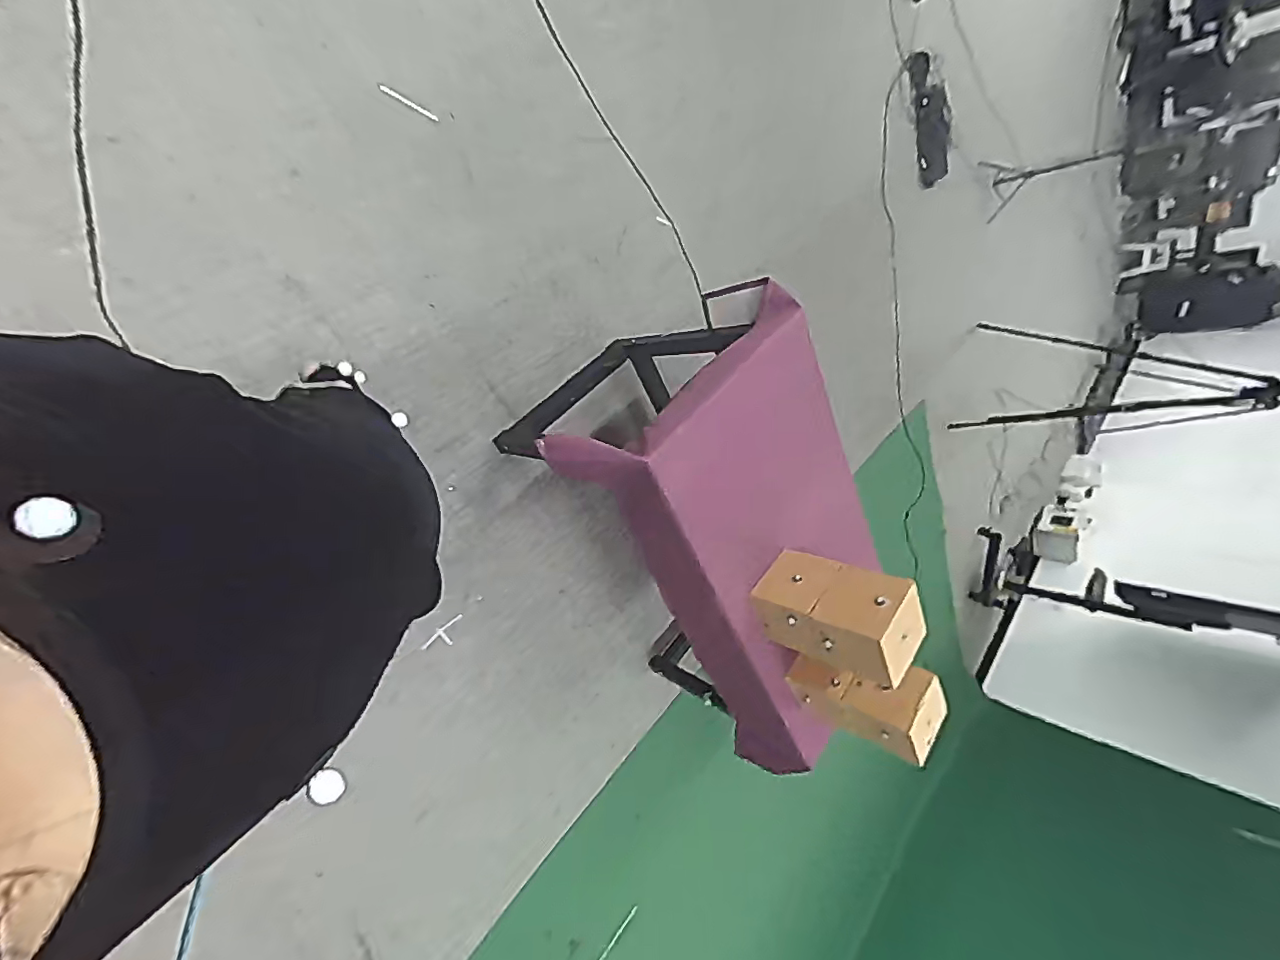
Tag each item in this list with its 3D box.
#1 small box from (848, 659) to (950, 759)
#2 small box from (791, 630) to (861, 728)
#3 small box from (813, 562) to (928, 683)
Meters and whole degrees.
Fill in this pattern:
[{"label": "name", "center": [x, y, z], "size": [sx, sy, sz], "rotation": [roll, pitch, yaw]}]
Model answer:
[{"label": "small box", "center": [0.651, 0.556, 1.367], "size": [0.168, 0.176, 0.179], "rotation": [-47, 123, -24]}, {"label": "small box", "center": [0.546, 0.533, 1.491], "size": [0.179, 0.176, 0.168], "rotation": [-47, 124, -24]}, {"label": "small box", "center": [0.514, 0.306, 1.207], "size": [0.179, 0.176, 0.168], "rotation": [-43, 121, -28]}]
